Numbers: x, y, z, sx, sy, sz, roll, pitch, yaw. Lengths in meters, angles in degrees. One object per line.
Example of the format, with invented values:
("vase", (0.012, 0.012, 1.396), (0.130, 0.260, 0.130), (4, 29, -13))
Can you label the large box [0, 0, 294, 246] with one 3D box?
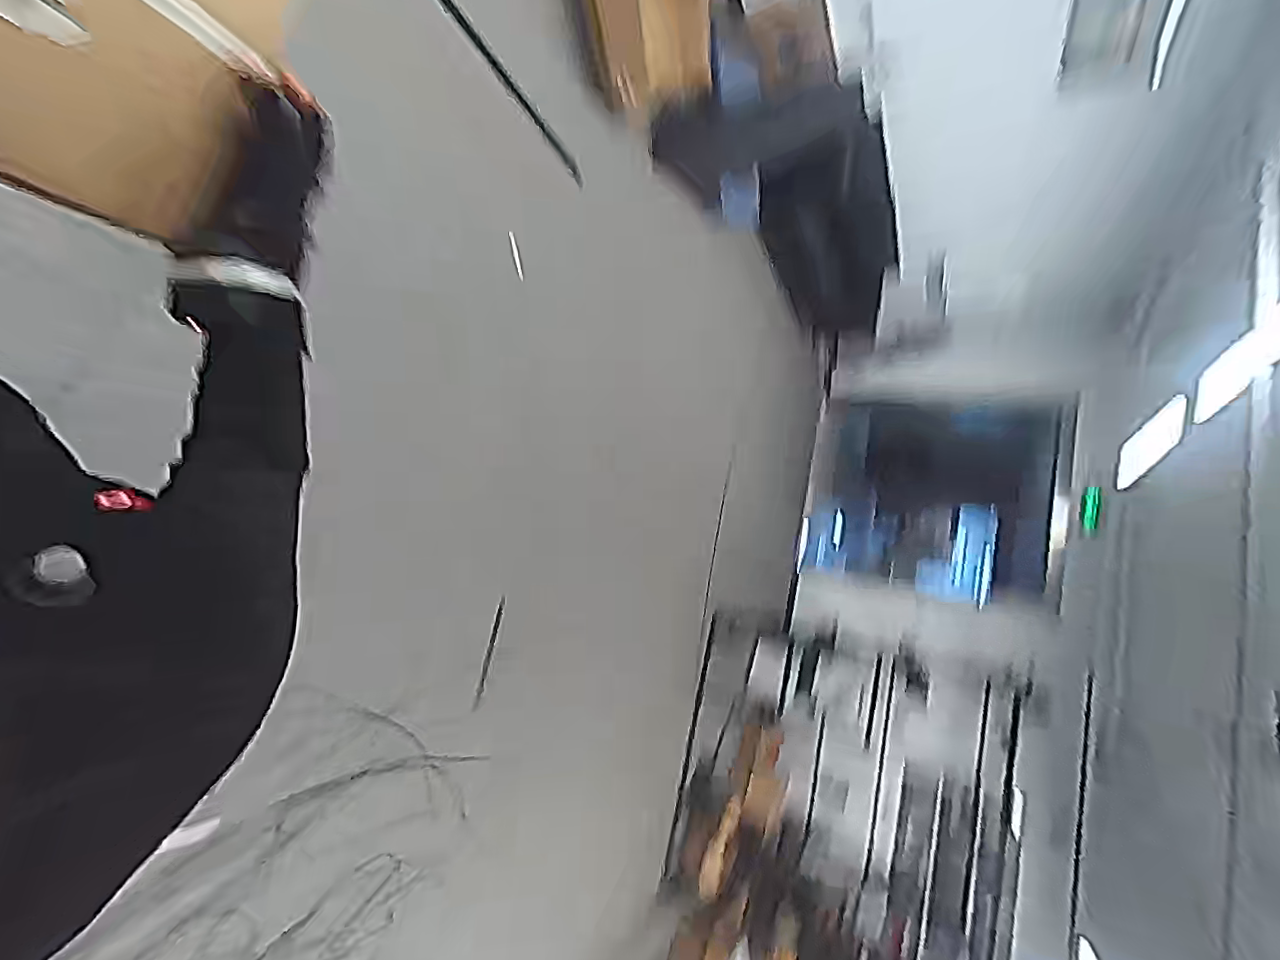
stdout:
("large box", (-0.520, -0.413, 0.335), (0.320, 0.320, 0.408), (-66, 155, 2))
